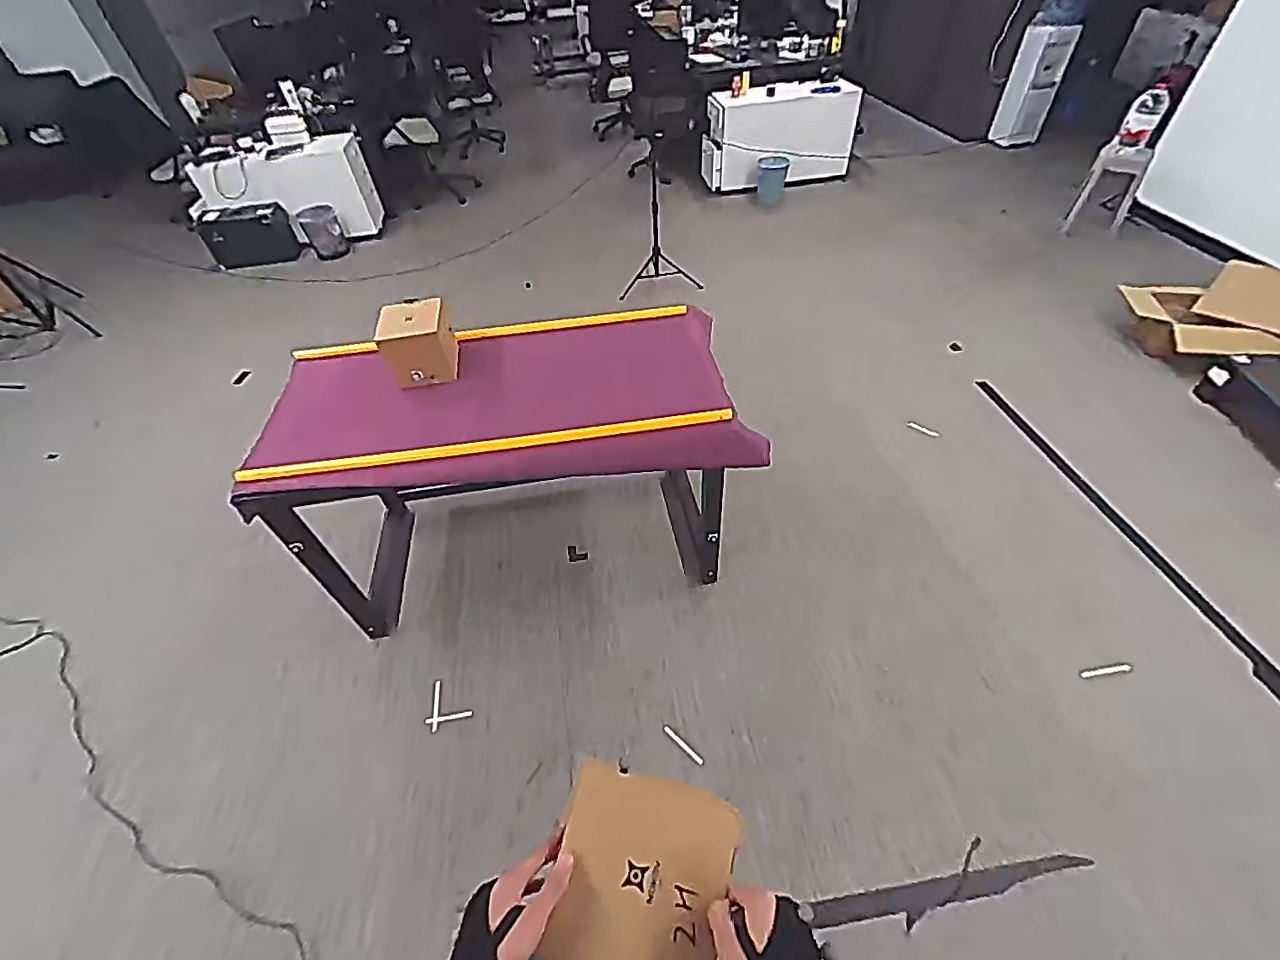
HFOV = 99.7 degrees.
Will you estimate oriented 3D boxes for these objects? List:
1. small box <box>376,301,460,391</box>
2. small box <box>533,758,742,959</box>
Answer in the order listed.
[{"bbox_3d":[-0.615,-0.376,1.522,0.168,0.176,0.179,-10,48,-4],"label":"small box"},{"bbox_3d":[-0.005,0.422,0.605,0.179,0.176,0.168,17,65,1],"label":"small box"}]
